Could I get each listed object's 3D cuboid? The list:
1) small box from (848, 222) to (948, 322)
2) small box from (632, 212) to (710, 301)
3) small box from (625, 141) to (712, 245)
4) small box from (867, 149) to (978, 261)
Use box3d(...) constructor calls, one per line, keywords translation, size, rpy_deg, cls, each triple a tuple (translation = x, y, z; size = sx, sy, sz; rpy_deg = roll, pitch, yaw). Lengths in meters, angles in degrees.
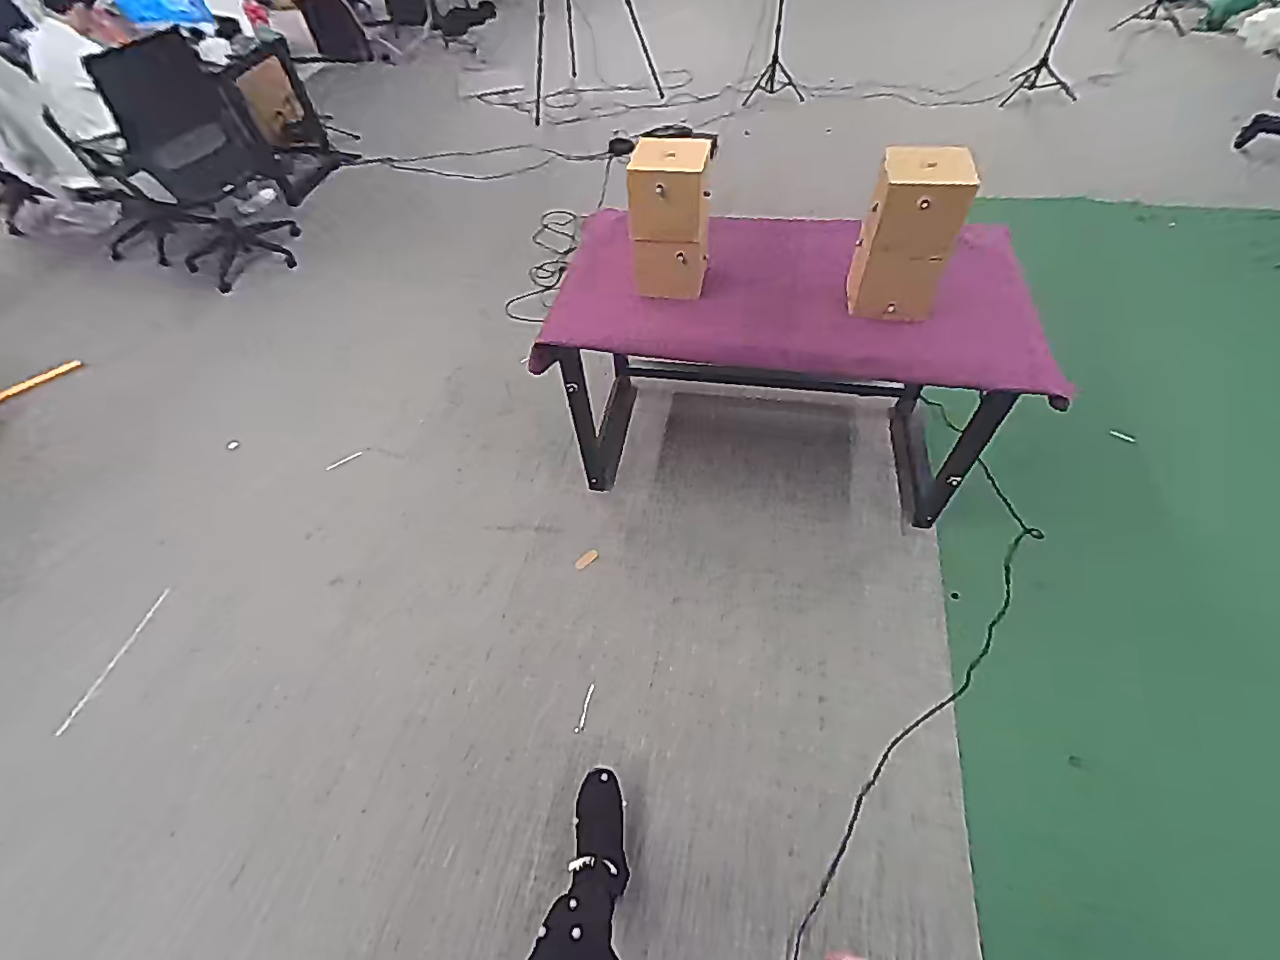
box3d(translation=(0.621, -0.506, 1.324), size=(0.179, 0.176, 0.168), rpy_deg=(6, 54, 10), cls="small box")
box3d(translation=(0.086, -0.597, 1.440), size=(0.179, 0.176, 0.168), rpy_deg=(8, 54, 10), cls="small box")
box3d(translation=(0.074, -0.691, 1.309), size=(0.179, 0.176, 0.168), rpy_deg=(7, 55, 11), cls="small box")
box3d(translation=(0.609, -0.605, 1.193), size=(0.179, 0.176, 0.168), rpy_deg=(7, 55, 11), cls="small box")
